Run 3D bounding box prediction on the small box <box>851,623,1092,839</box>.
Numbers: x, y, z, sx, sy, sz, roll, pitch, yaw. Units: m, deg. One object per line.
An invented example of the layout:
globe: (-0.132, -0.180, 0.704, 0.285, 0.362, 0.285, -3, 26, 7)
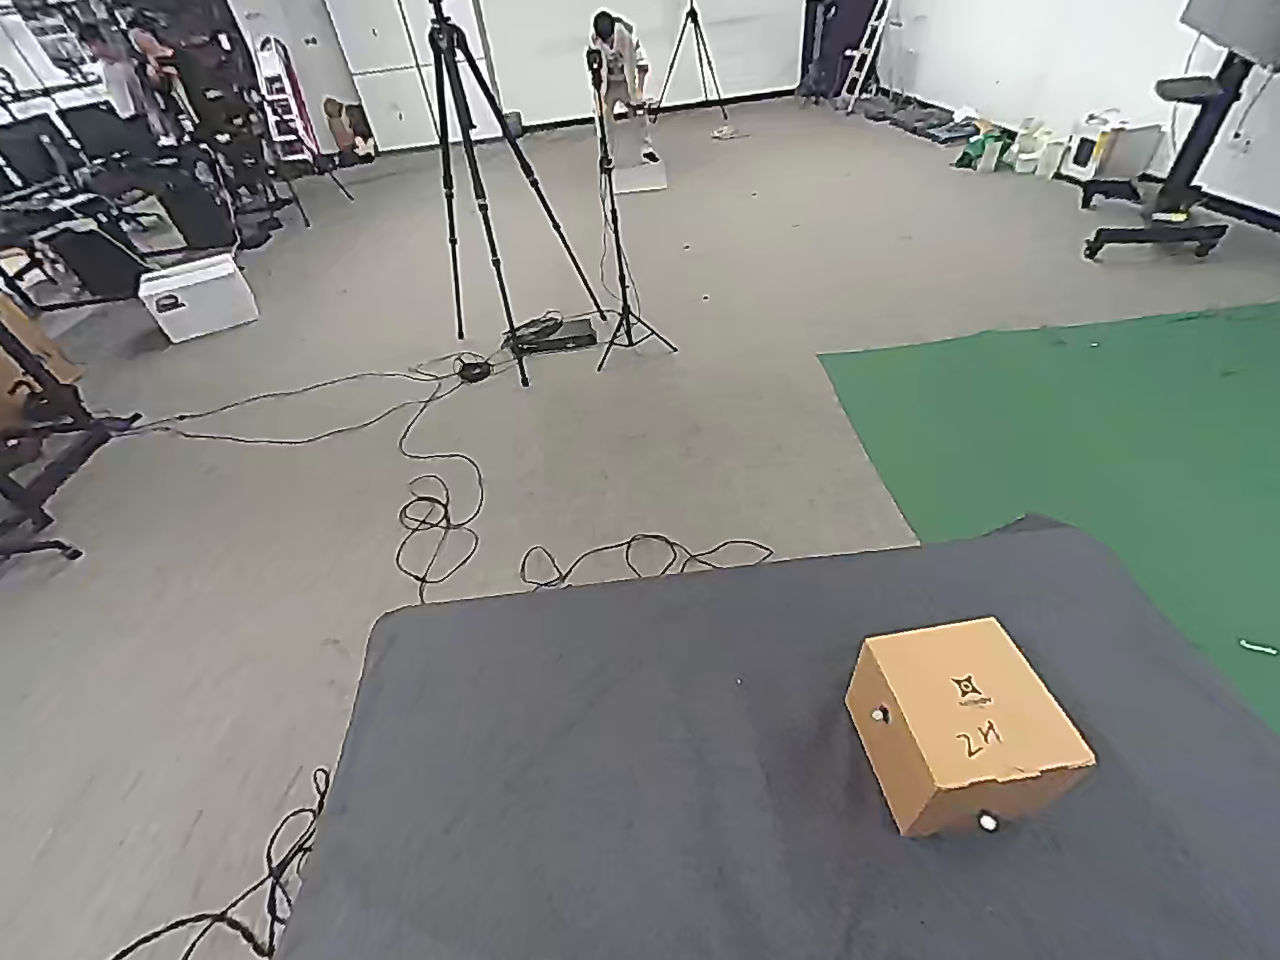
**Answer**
small box: (0.376, 0.304, 0.660, 0.168, 0.176, 0.179, -9, 42, 0)
